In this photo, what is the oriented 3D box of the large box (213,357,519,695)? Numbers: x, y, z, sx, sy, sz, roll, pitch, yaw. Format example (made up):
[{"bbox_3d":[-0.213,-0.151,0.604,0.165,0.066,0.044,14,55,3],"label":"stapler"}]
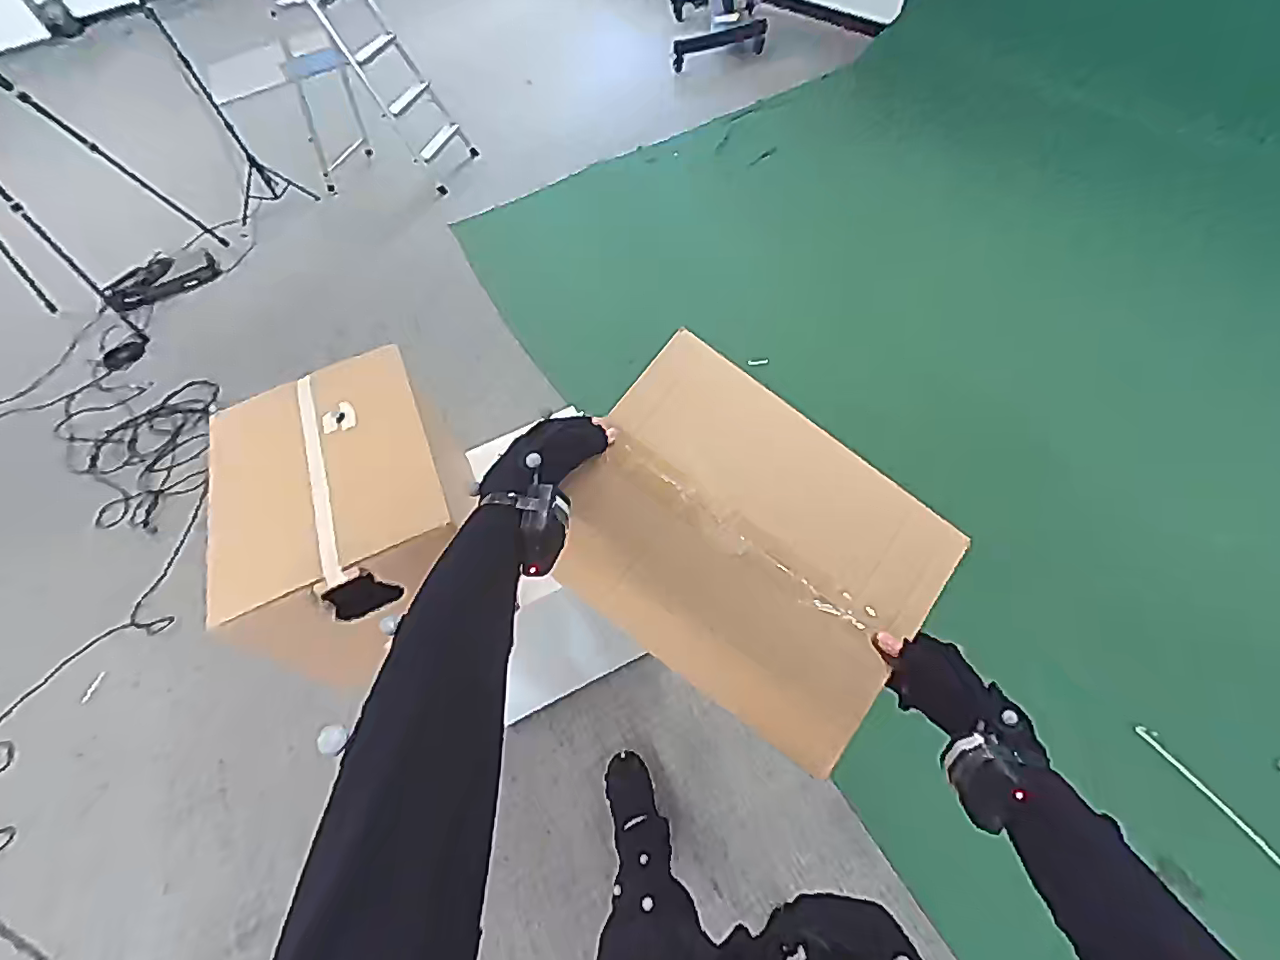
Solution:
[{"bbox_3d":[-0.446,0.075,0.910,0.320,0.320,0.408,-25,54,-9],"label":"large box"}]
